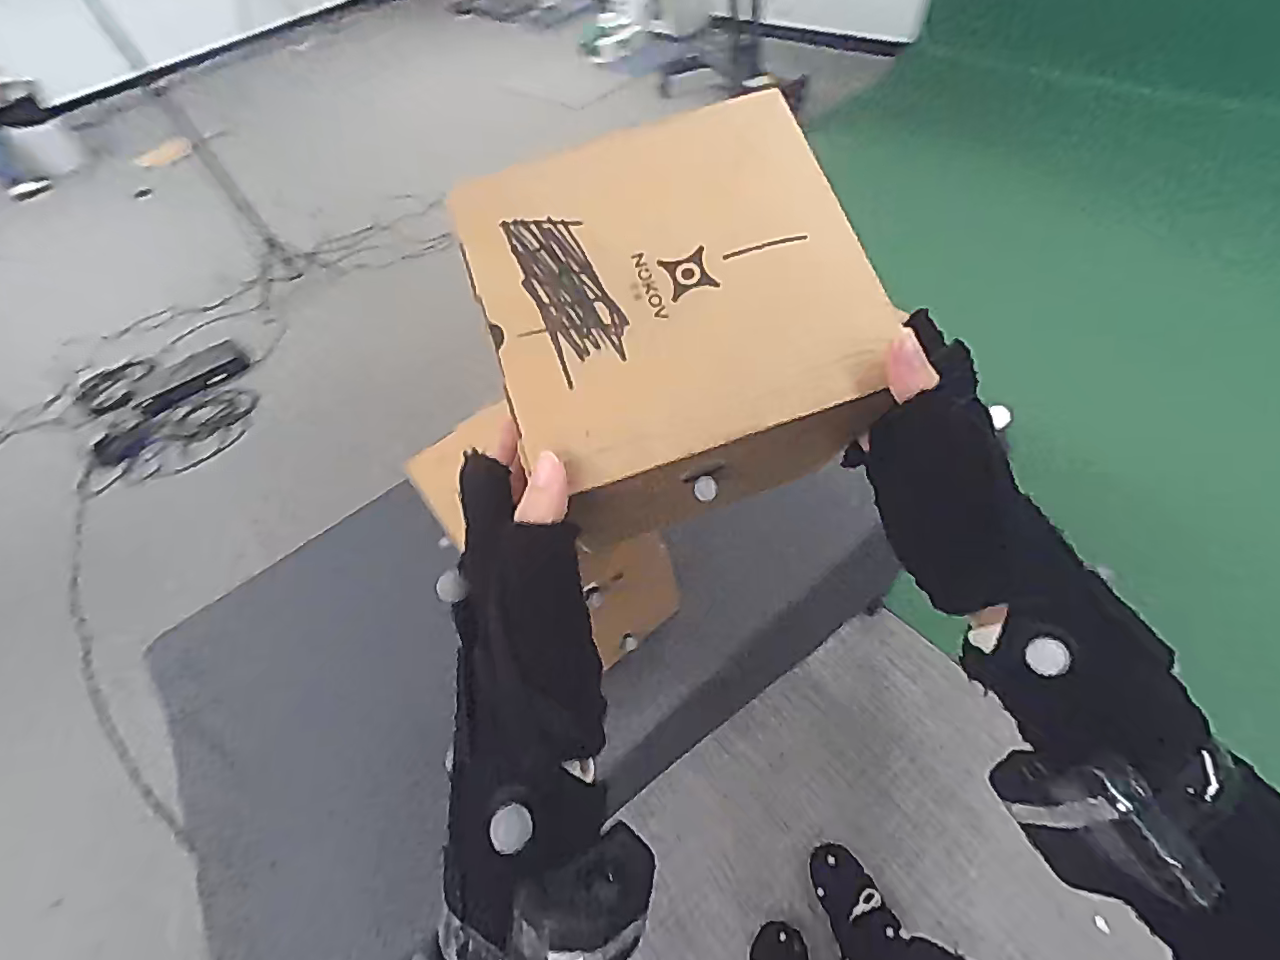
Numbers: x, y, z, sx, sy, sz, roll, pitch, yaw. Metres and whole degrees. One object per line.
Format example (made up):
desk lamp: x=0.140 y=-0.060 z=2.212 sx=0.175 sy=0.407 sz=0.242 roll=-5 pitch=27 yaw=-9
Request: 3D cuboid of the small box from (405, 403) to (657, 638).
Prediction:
small box: x=-0.104 y=0.033 z=0.568 sx=0.168 sy=0.176 sz=0.179 roll=-39 pitch=56 yaw=-14

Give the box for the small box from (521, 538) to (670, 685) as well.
small box: x=-0.075 y=0.127 z=0.698 sx=0.179 sy=0.176 sz=0.168 roll=-36 pitch=54 yaw=-16

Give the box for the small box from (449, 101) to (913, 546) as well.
small box: x=0.016 y=-0.067 z=0.323 sx=0.179 sy=0.176 sz=0.168 roll=-18 pitch=77 yaw=-1
